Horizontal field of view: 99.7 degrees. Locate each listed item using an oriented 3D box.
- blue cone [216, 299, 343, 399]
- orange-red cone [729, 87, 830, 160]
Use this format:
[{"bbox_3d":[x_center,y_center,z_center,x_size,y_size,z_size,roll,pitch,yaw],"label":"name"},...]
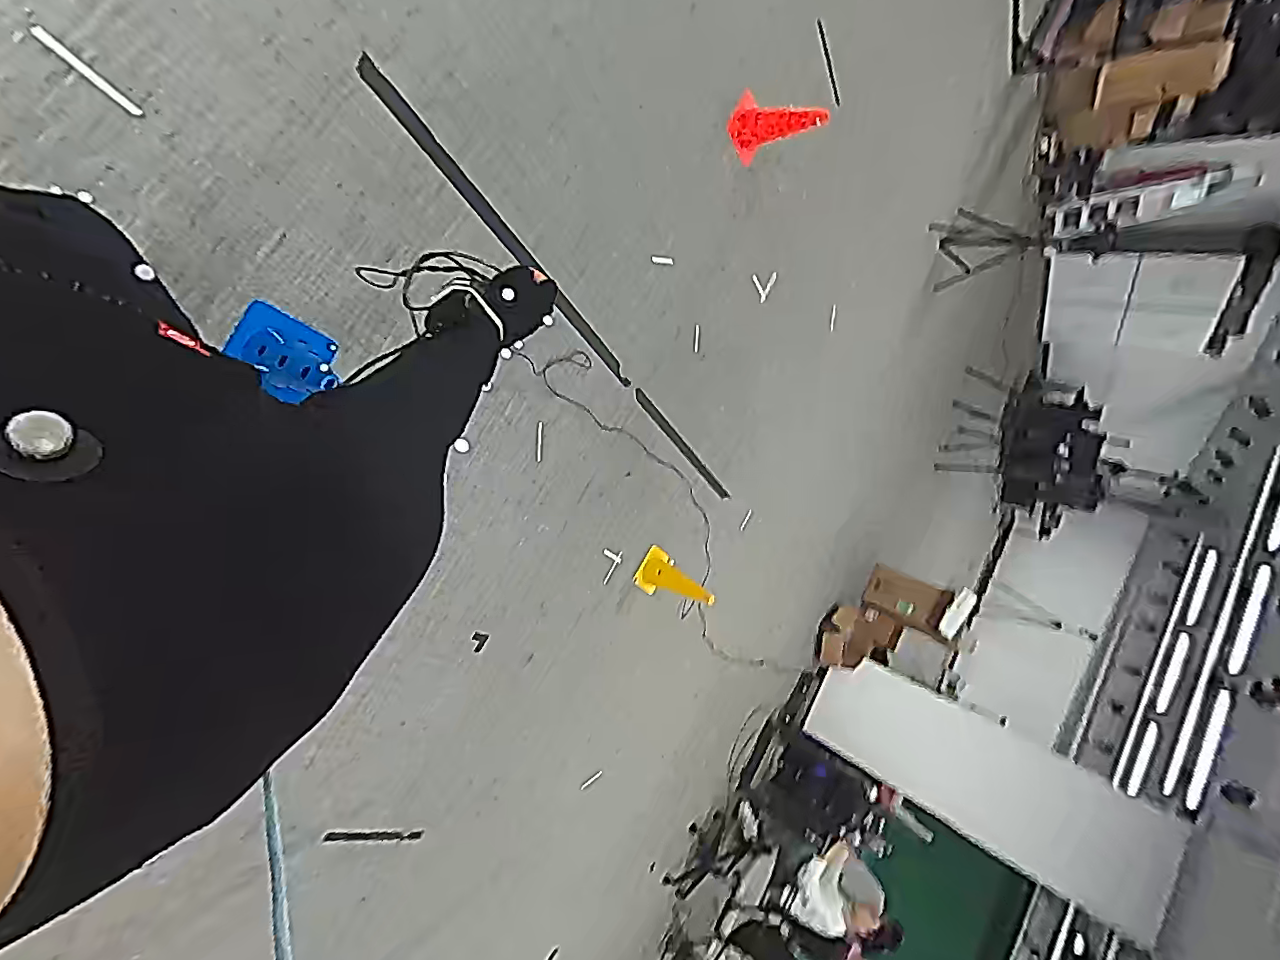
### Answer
[{"bbox_3d":[-0.719,-0.250,1.140,0.193,0.380,0.192,35,79,-50],"label":"blue cone"},{"bbox_3d":[0.555,-1.399,2.083,0.199,0.360,0.198,35,78,-48],"label":"orange-red cone"}]
